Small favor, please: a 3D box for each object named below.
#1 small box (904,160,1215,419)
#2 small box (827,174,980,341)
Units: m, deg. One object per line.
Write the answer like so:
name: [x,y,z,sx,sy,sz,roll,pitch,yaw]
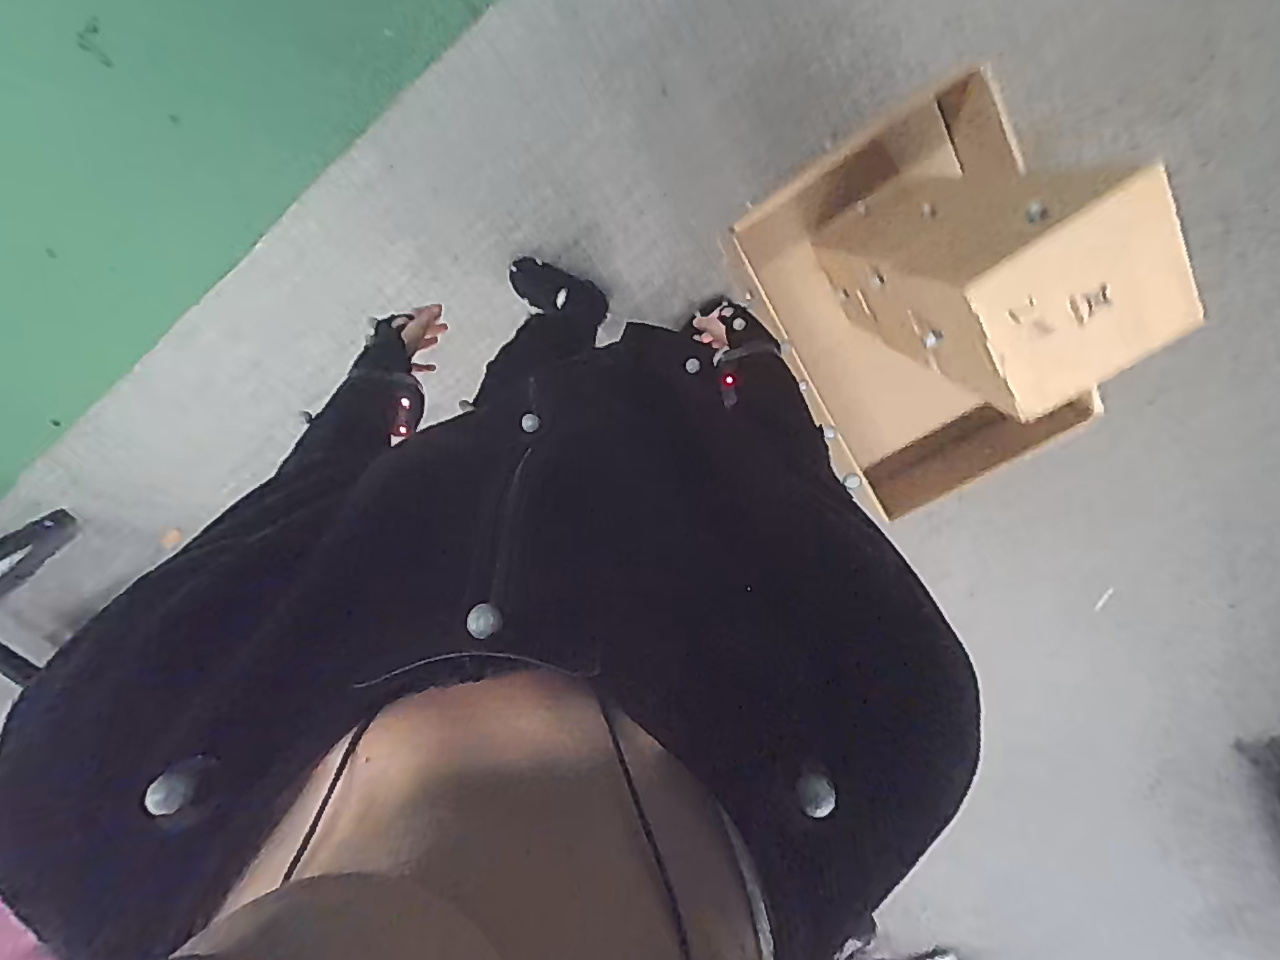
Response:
small box: [0.419,-0.199,0.567,0.179,0.176,0.168,-33,112,16]
small box: [0.417,-0.353,0.857,0.179,0.176,0.168,-31,114,16]
